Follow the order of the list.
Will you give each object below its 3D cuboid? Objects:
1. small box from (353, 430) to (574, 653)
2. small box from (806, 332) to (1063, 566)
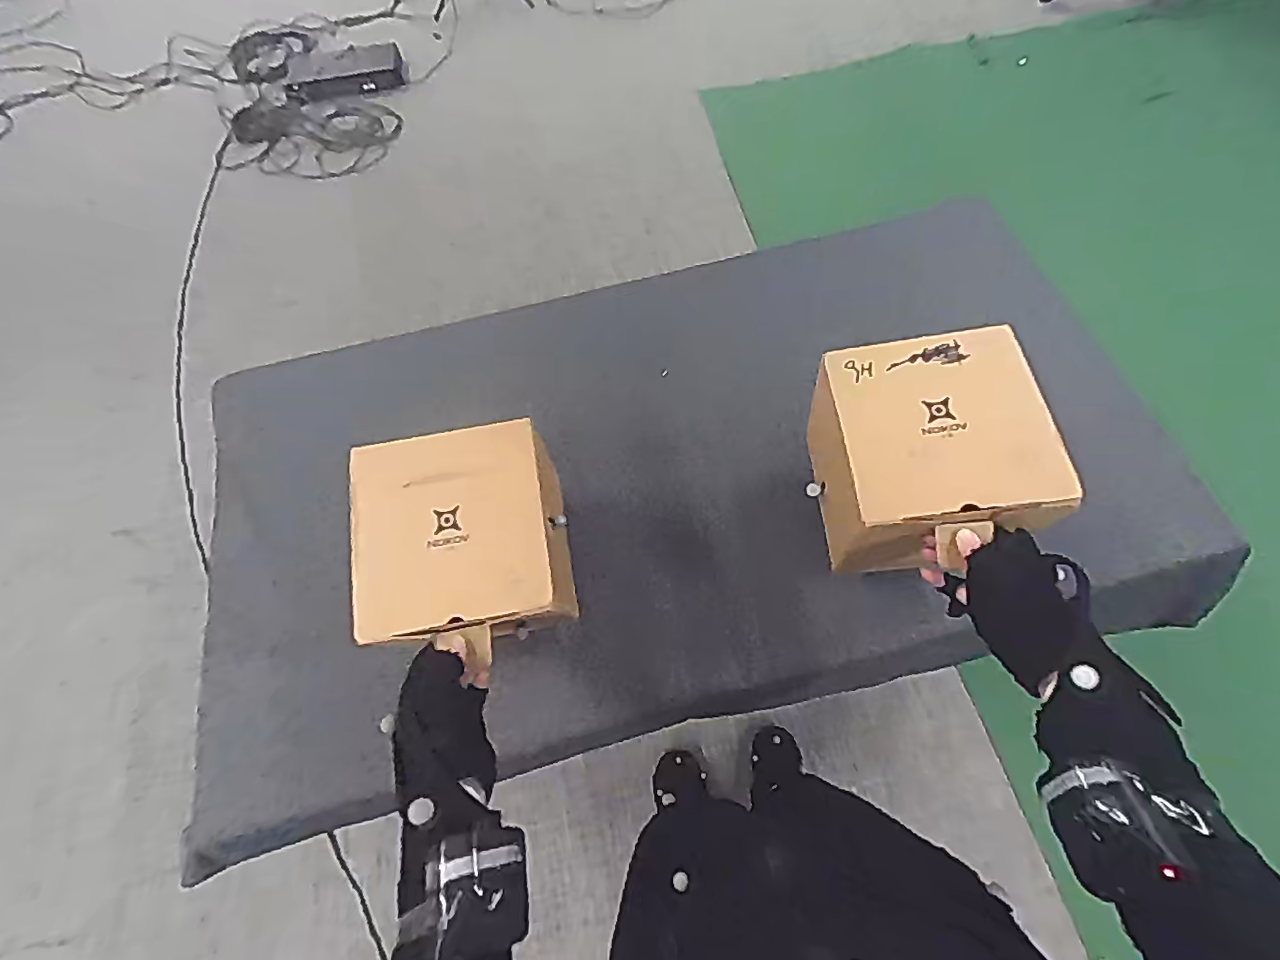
[{"bbox_3d":[-0.168,0.072,0.556,0.168,0.176,0.179,-12,71,-4],"label":"small box"},{"bbox_3d":[0.270,-0.016,0.547,0.168,0.176,0.179,-8,66,9],"label":"small box"}]
